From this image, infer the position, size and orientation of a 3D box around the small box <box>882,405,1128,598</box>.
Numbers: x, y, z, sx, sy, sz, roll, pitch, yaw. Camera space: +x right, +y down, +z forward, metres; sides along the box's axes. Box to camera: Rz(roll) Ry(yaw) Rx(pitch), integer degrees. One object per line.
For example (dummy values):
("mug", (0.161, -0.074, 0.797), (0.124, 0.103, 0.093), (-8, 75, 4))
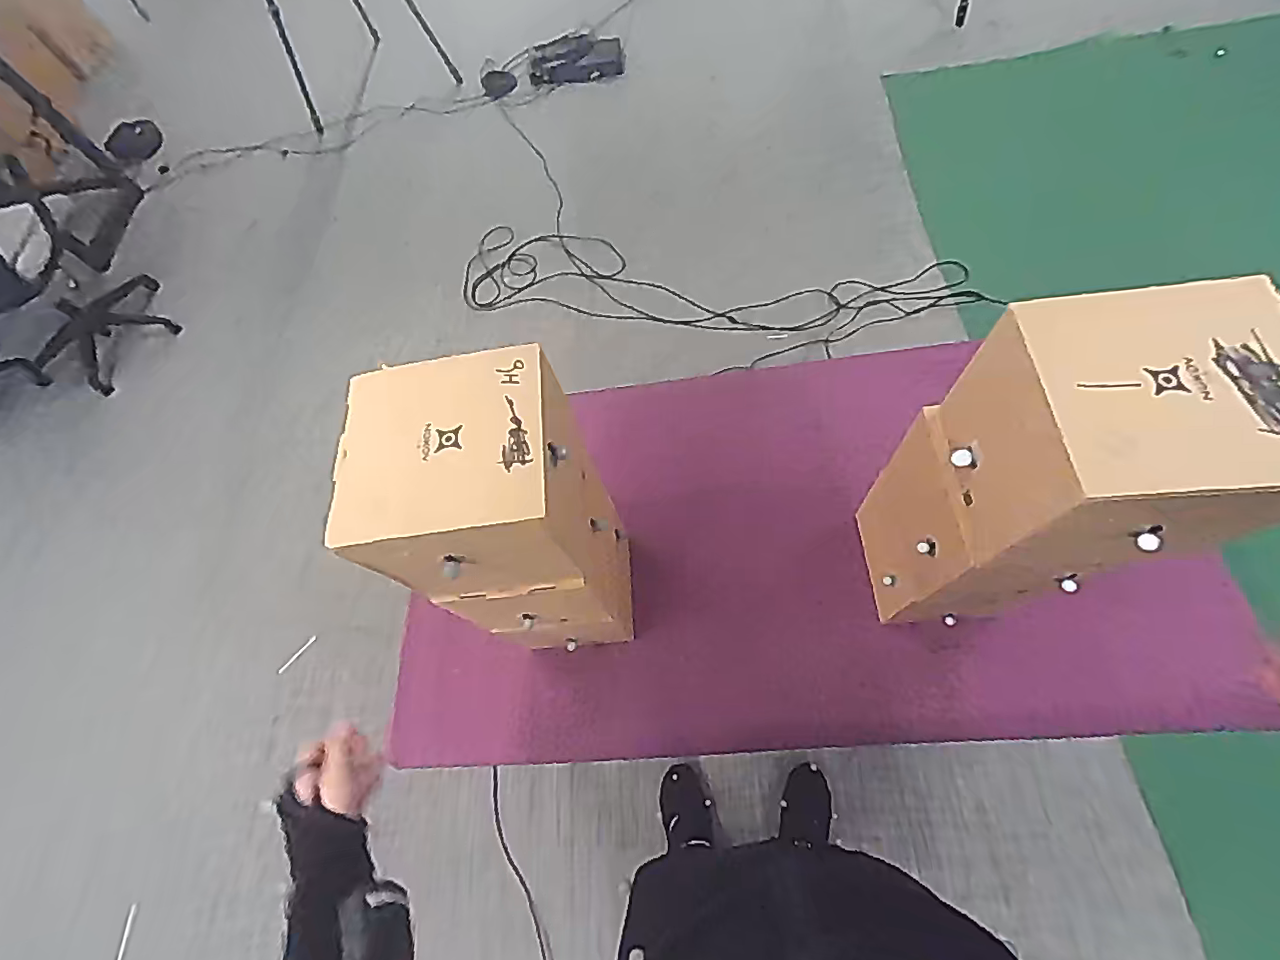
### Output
("small box", (0.385, 0.027, 0.592), (0.168, 0.176, 0.179), (-7, 64, 7))

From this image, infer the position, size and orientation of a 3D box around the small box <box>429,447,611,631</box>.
("small box", (-0.133, 0.075, 0.660), (0.168, 0.176, 0.179), (-8, 64, 6))

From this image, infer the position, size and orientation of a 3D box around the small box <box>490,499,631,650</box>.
("small box", (-0.109, 0.146, 0.805), (0.168, 0.176, 0.179), (-7, 64, 7))

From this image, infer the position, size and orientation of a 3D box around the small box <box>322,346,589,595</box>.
("small box", (-0.156, 0.003, 0.515), (0.179, 0.176, 0.168), (-9, 64, 6))

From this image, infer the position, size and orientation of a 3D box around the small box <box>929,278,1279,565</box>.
("small box", (0.369, -0.034, 0.441), (0.179, 0.176, 0.168), (-4, 64, 8))
